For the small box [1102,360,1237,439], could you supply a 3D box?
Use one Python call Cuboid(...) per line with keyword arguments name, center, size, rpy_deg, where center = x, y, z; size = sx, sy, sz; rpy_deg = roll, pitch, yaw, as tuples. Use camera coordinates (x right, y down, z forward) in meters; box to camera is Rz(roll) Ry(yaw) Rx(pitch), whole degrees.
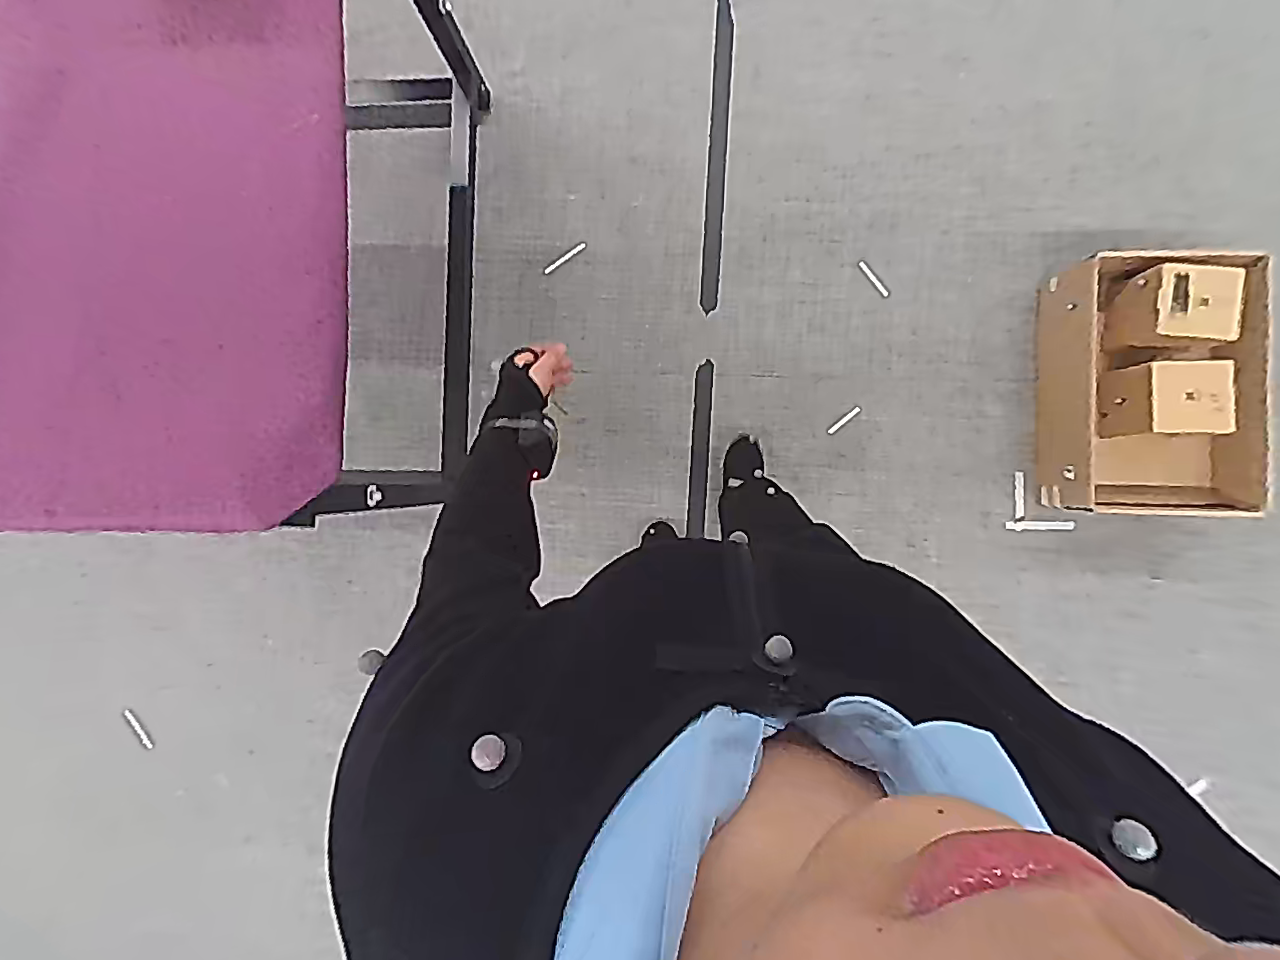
Cuboid(name="small box", center=(1.263, -0.188, 1.304), size=(0.179, 0.176, 0.168), rpy_deg=(0, 89, 4))
